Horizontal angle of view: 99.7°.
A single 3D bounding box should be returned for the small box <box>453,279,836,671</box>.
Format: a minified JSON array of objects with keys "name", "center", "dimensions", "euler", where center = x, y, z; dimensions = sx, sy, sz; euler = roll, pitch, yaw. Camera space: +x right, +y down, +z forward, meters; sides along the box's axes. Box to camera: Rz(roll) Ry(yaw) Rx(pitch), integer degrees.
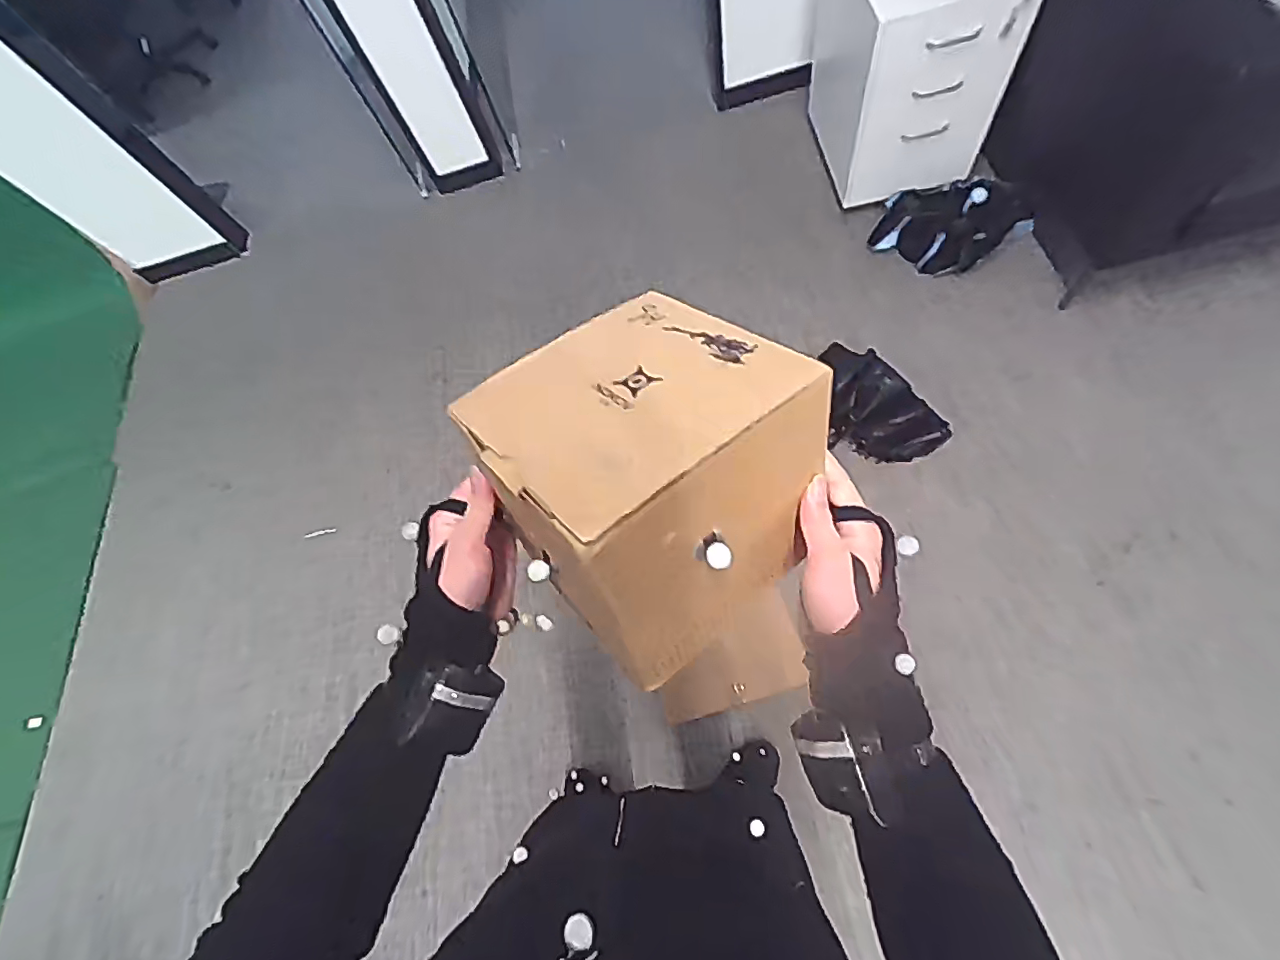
[{"name":"small box","center":[0.010,-0.006,0.372],"dimensions":[0.179,0.176,0.168],"euler":[-35,49,-20]}]
